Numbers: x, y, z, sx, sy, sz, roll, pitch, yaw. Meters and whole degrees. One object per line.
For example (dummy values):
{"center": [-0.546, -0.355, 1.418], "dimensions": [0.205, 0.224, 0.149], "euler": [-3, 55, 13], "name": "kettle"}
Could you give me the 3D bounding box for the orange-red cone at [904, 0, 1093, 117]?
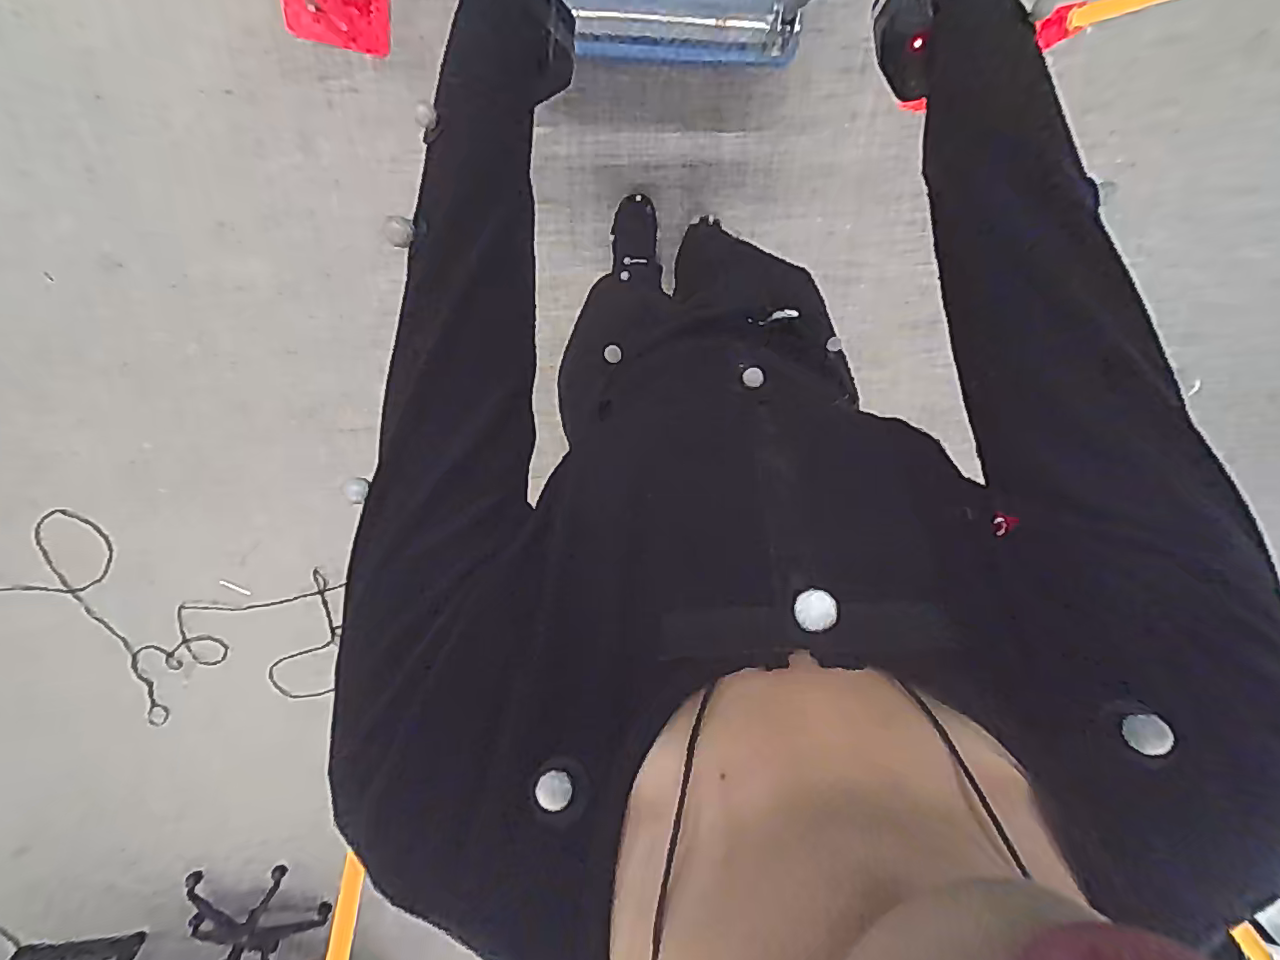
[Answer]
{"center": [0.701, -0.833, 1.021], "dimensions": [0.198, 0.360, 0.199], "euler": [7, 119, -7], "name": "orange-red cone"}
